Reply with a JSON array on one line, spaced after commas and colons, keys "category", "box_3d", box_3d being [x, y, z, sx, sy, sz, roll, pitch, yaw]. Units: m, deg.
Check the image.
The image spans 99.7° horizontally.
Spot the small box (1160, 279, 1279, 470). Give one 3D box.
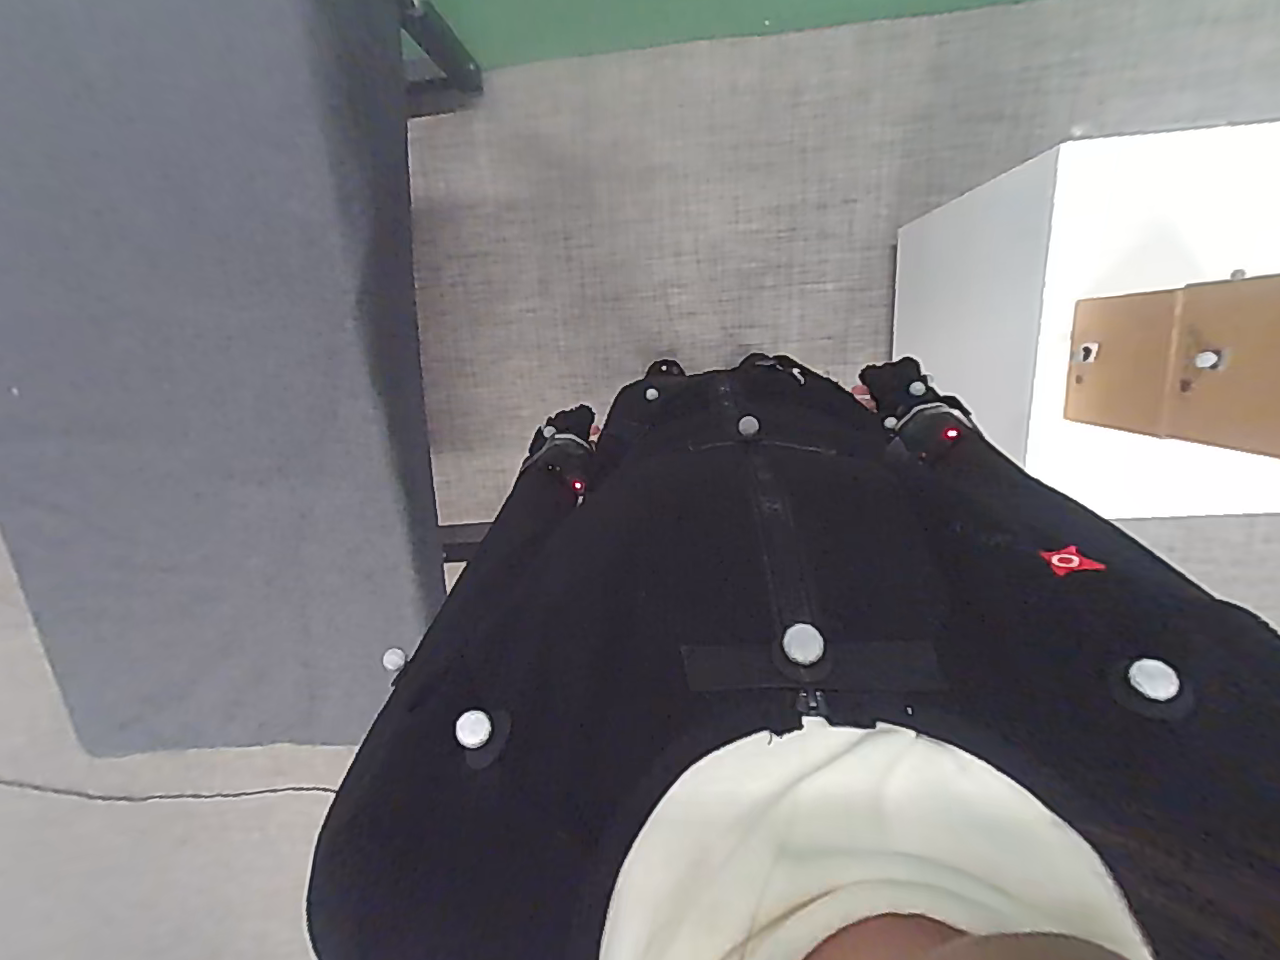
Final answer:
[{"category": "small box", "box_3d": [0.649, -0.105, 0.496, 0.179, 0.176, 0.168, -6, 103, 5]}]

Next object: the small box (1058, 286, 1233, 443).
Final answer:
[{"category": "small box", "box_3d": [0.659, -0.144, 0.655, 0.179, 0.176, 0.168, -4, 103, 7]}]
